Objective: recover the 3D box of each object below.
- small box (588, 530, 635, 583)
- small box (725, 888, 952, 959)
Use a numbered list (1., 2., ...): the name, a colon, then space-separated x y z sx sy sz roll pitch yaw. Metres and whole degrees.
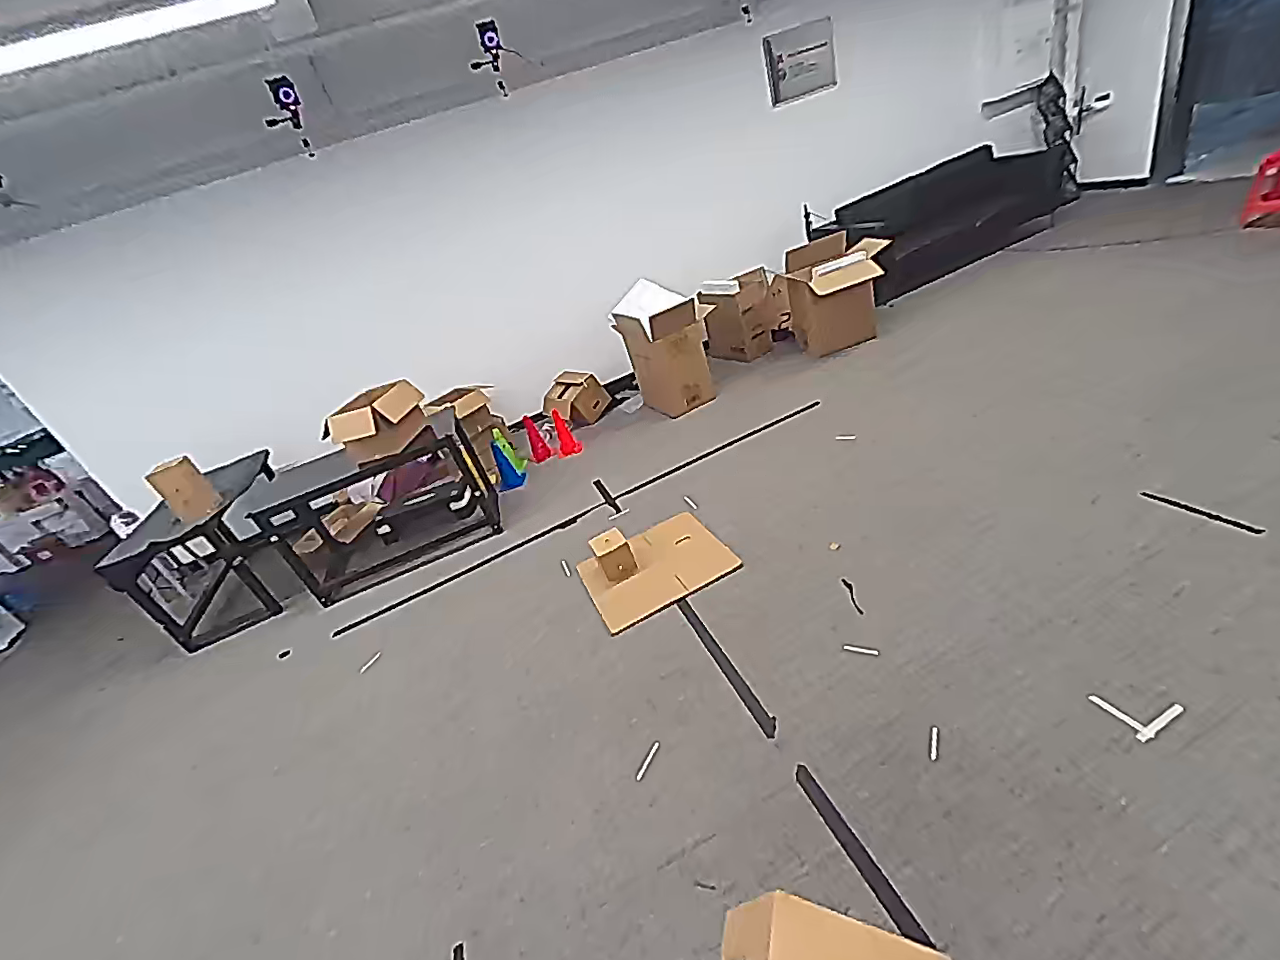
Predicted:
1. small box: -0.144 0.391 2.757 0.168 0.176 0.179 -27 29 -12
2. small box: 0.173 0.524 0.508 0.179 0.176 0.168 19 45 4
